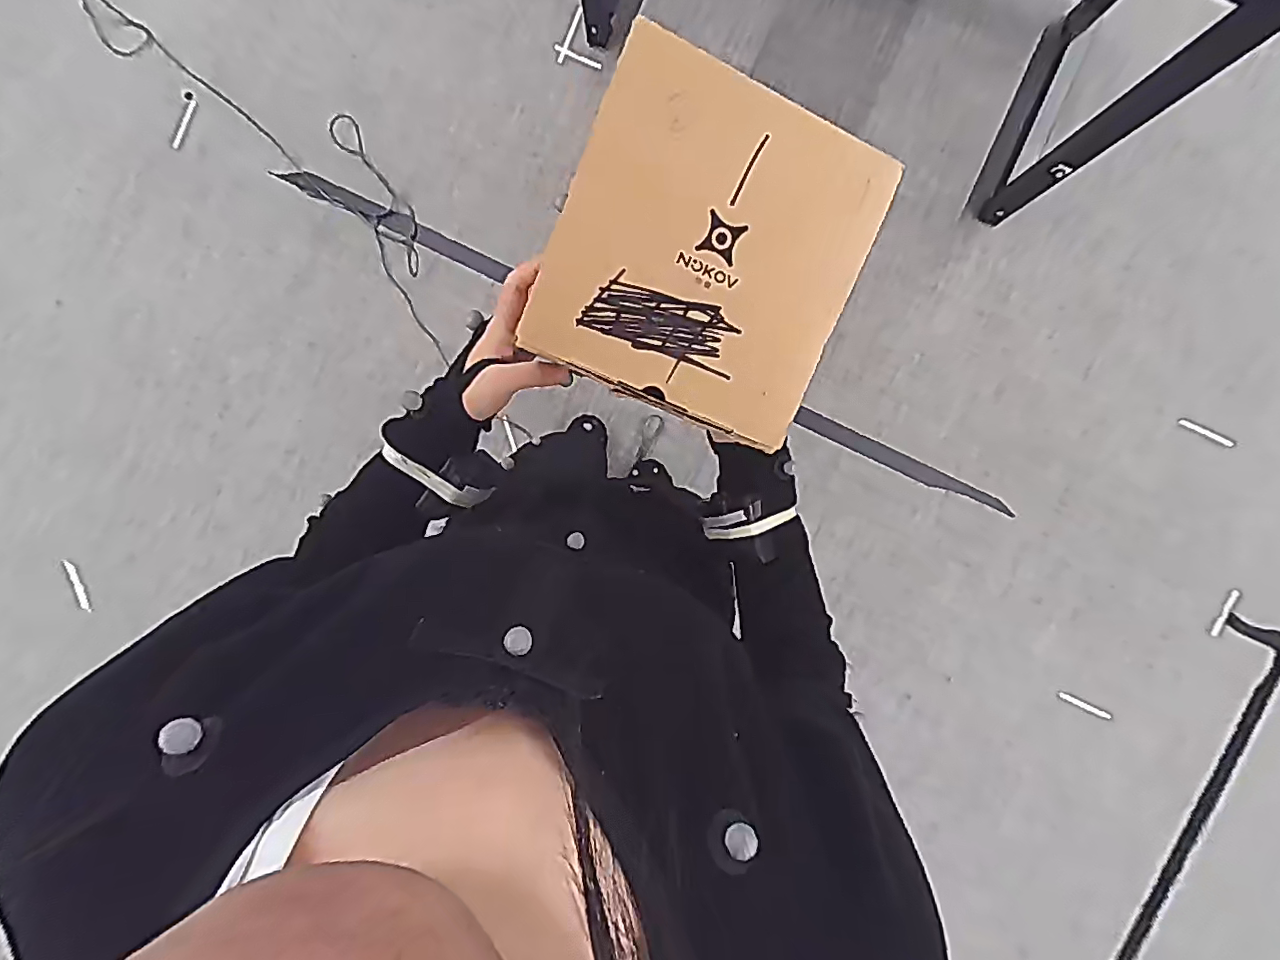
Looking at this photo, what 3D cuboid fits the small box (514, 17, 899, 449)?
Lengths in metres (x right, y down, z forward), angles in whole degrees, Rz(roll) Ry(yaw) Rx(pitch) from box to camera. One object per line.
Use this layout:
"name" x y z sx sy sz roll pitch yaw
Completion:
"small box" 0.029 -0.140 0.374 0.168 0.176 0.179 22 97 -11

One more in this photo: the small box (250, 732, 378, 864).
"small box" -0.761 0.744 1.283 0.168 0.176 0.179 27 91 0
